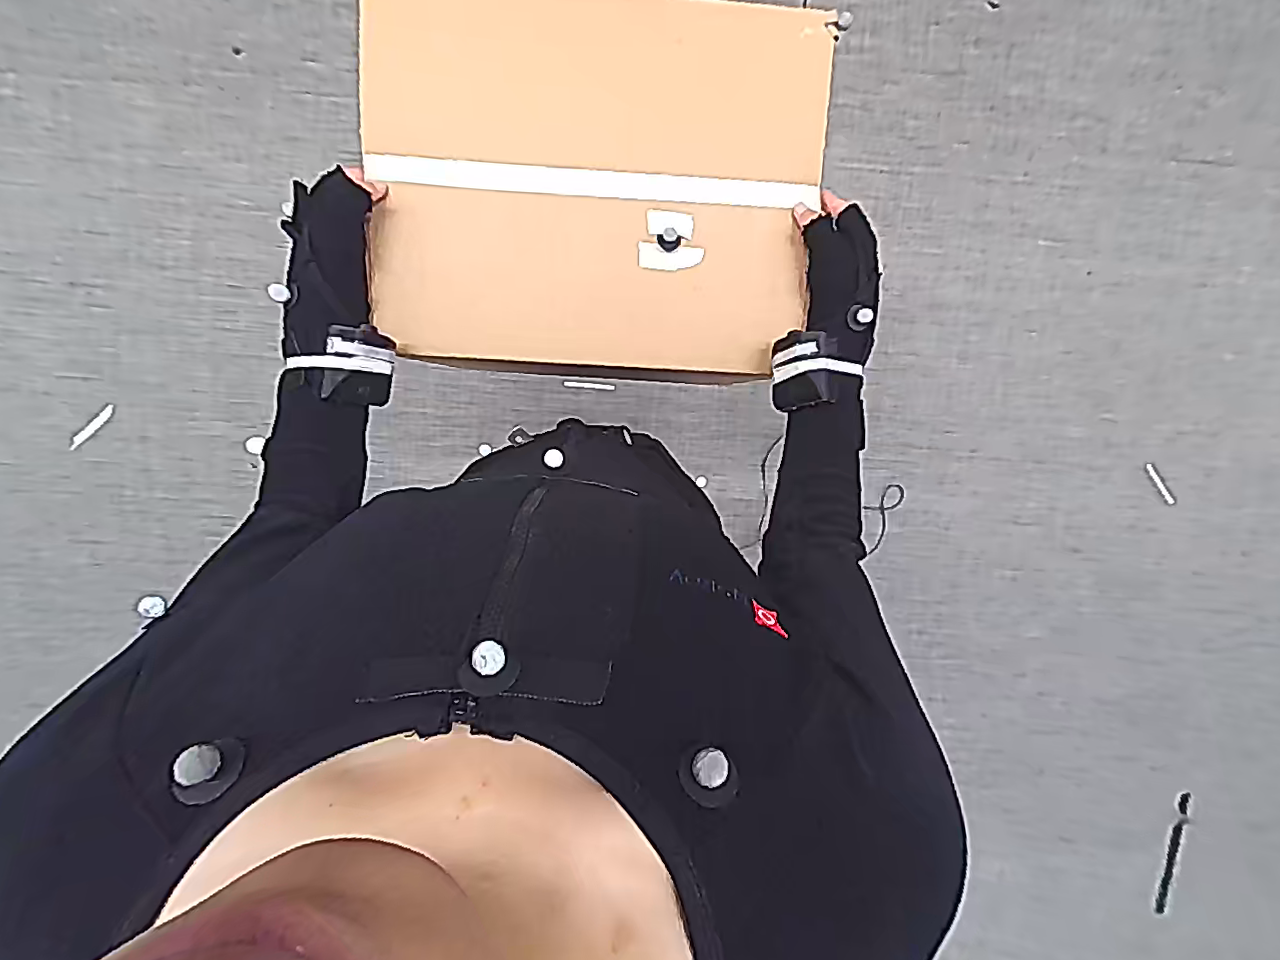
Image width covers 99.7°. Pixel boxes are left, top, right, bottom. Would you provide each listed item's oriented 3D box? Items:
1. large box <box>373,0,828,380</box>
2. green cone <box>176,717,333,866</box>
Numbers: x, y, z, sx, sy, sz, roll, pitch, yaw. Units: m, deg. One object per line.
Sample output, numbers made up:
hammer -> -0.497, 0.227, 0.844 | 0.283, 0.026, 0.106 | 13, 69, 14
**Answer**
large box -> -0.046, -0.287, 0.635 | 0.408, 0.320, 0.320 | 2, 99, -4
green cone -> -1.010, 0.817, 1.380 | 0.202, 0.368, 0.200 | -33, 95, 4
